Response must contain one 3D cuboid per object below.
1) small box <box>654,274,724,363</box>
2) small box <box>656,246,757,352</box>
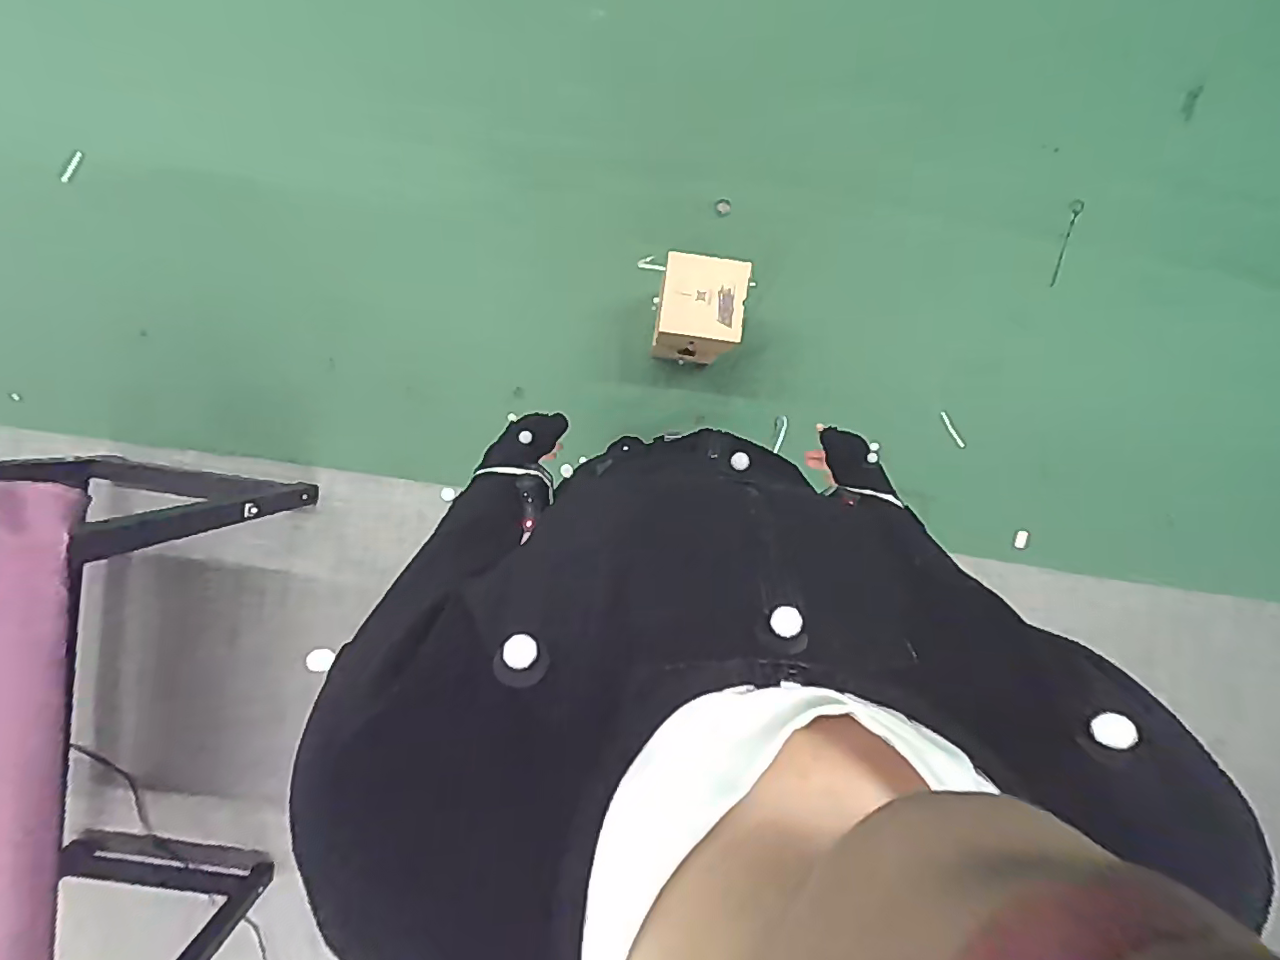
[{"bbox_3d":[0.129,-0.400,1.353,0.168,0.176,0.179,8,95,-1],"label":"small box"},{"bbox_3d":[0.138,-0.387,1.187,0.179,0.176,0.168,11,93,-2],"label":"small box"}]
